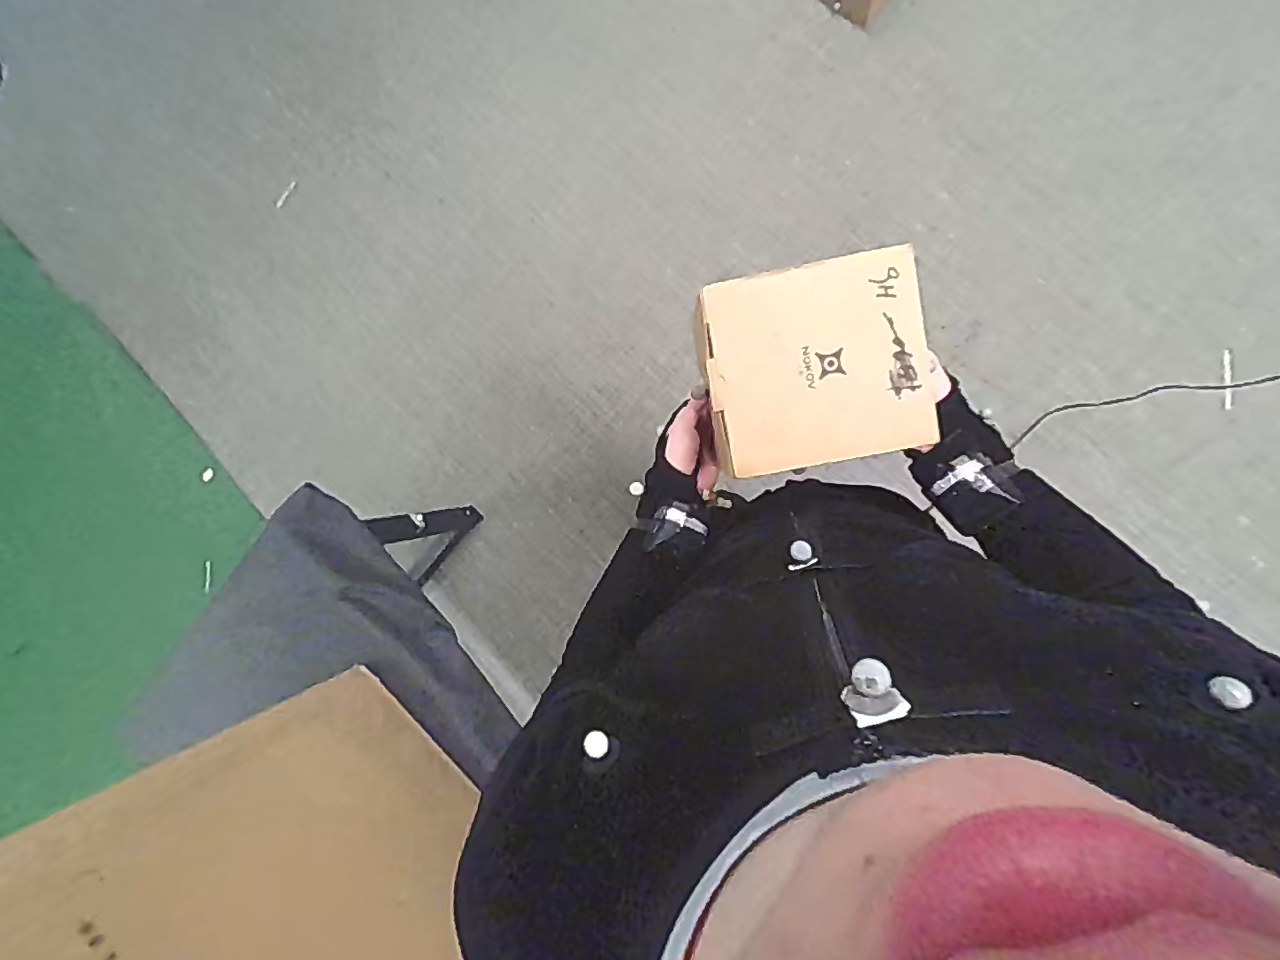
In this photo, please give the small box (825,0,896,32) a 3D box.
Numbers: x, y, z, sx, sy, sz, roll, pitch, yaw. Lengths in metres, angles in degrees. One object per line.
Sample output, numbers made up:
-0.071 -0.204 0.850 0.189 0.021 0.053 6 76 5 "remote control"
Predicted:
0.591 -1.315 1.376 0.168 0.176 0.179 42 101 11 "small box"
